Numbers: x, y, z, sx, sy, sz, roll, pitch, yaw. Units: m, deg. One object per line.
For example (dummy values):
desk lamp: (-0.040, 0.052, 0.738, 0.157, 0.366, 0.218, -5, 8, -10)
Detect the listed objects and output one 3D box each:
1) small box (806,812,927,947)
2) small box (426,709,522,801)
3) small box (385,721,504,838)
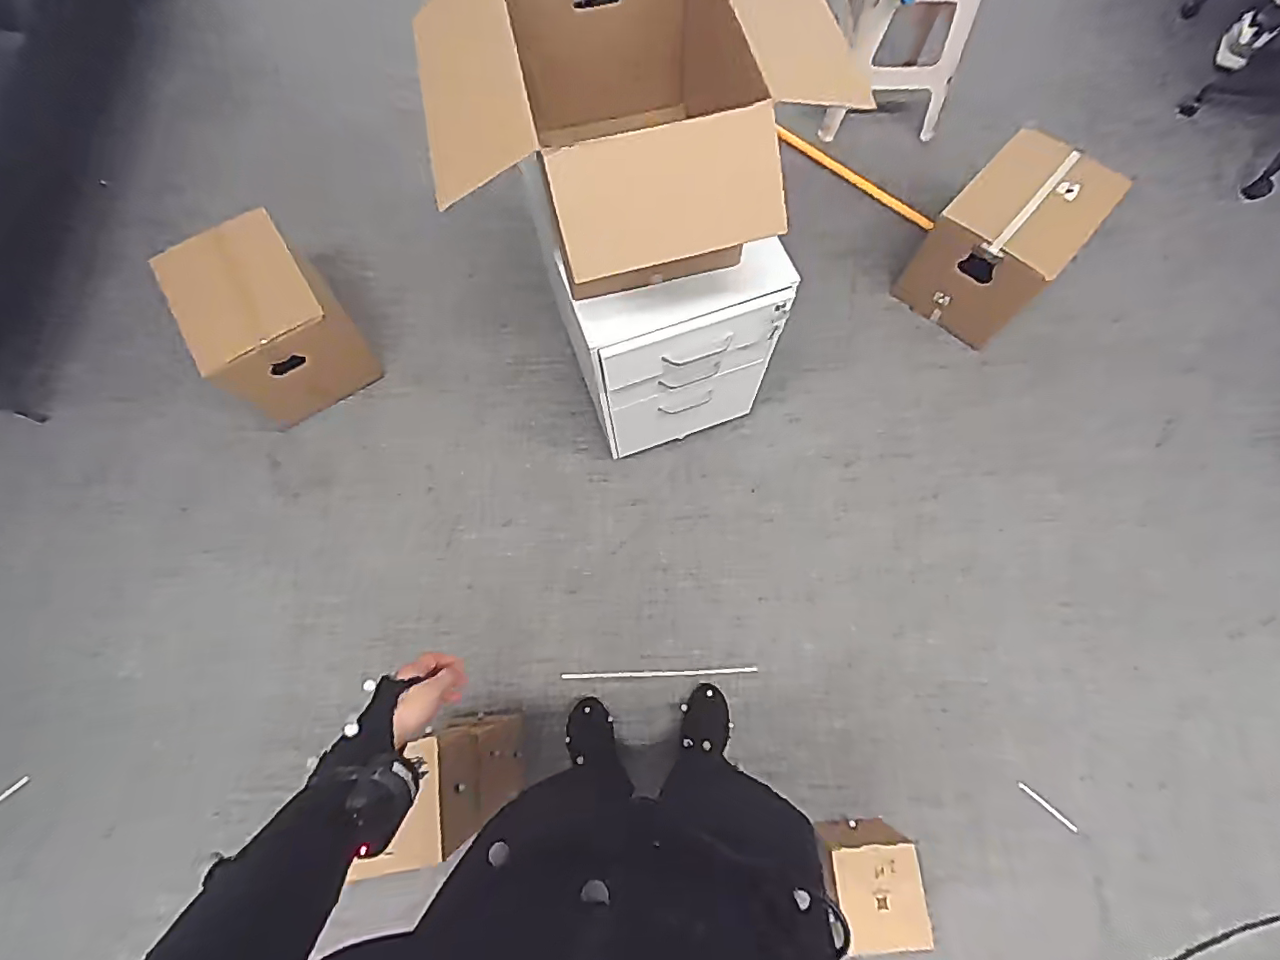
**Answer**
small box: (0.456, 0.813, 1.117, 0.168, 0.176, 0.179, -5, 72, 0)
small box: (-0.367, 0.615, 1.216, 0.179, 0.176, 0.168, -4, 71, 0)
small box: (-0.371, 0.574, 1.058, 0.179, 0.176, 0.168, -7, 70, 1)
